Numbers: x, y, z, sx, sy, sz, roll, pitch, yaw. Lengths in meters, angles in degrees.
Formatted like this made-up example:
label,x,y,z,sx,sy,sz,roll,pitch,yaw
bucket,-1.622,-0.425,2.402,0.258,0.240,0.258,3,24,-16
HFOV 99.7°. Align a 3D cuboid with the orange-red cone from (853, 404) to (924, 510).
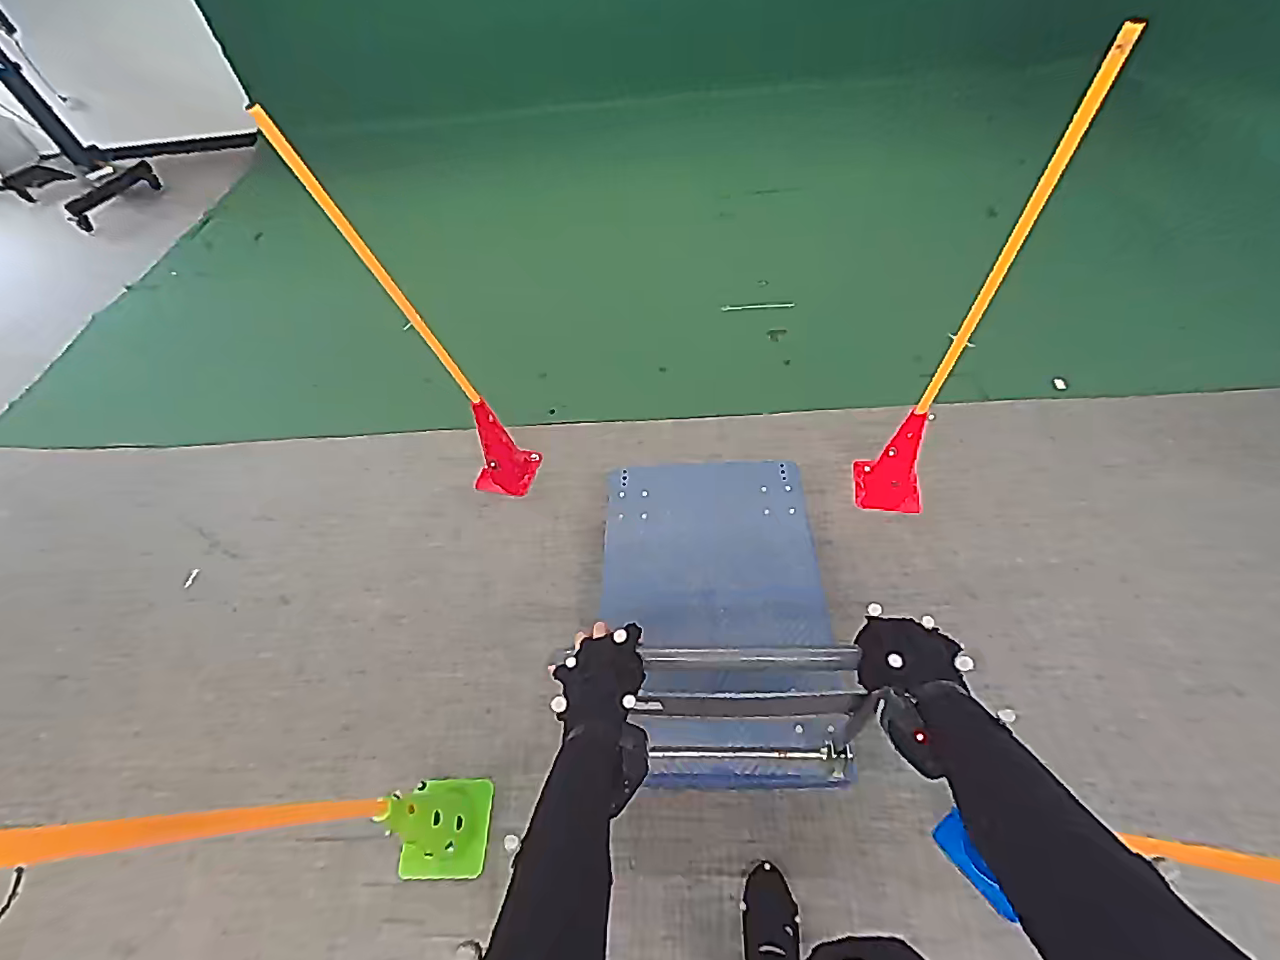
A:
label,x,y,z,sx,sy,sz,roll,pitch,yaw
orange-red cone,0.787,-0.092,1.638,0.198,0.360,0.199,6,55,12
